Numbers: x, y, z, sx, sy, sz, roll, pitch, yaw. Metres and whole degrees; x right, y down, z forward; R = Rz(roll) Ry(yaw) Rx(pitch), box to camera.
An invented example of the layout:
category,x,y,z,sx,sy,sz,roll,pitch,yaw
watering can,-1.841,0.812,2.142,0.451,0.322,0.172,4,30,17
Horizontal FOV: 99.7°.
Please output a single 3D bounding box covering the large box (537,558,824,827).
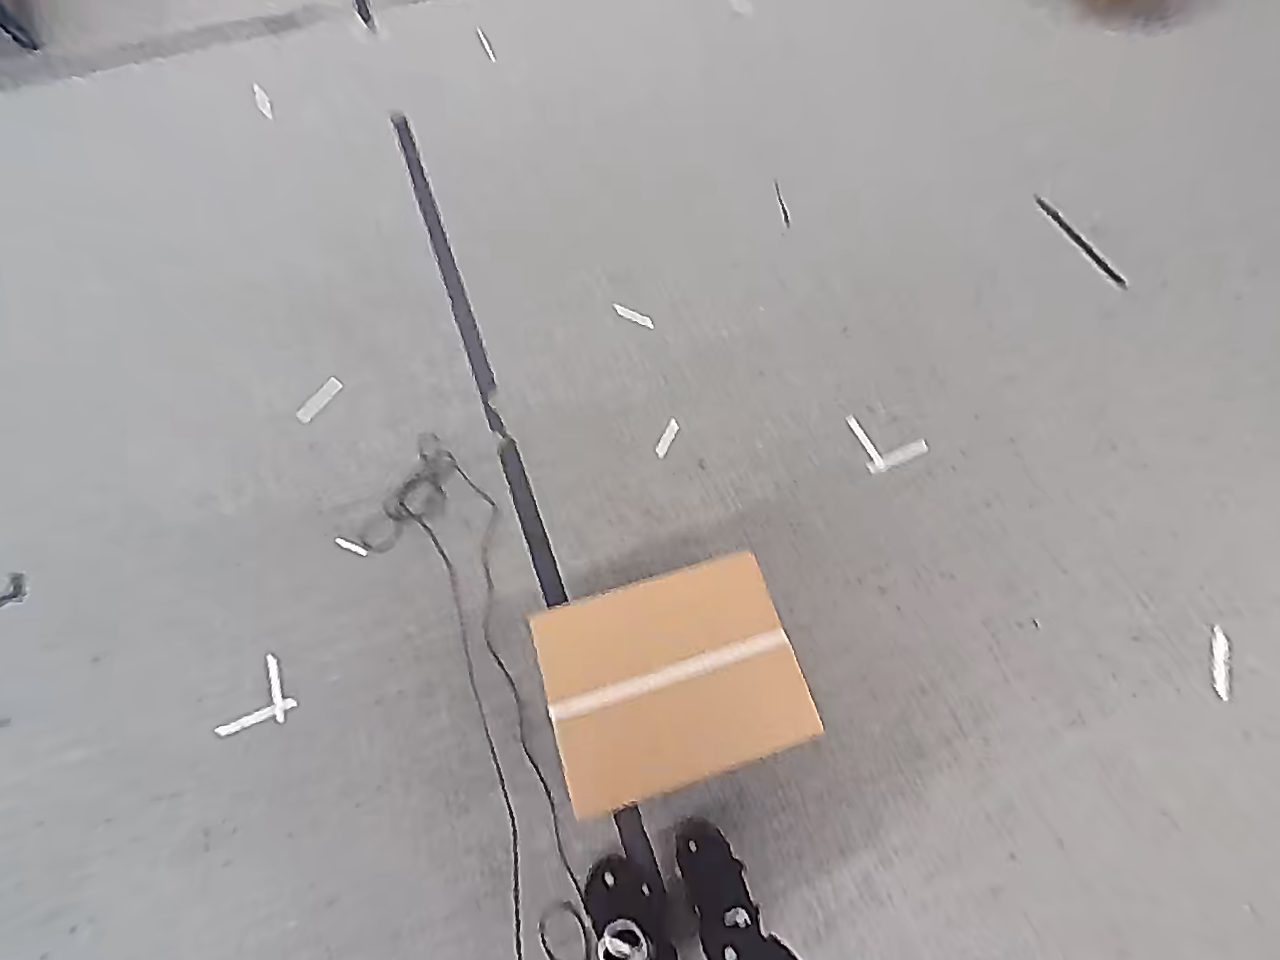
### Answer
category,x,y,z,sx,sy,sz,roll,pitch,yaw
large box,0.058,0.383,1.015,0.408,0.320,0.320,-16,67,-7
